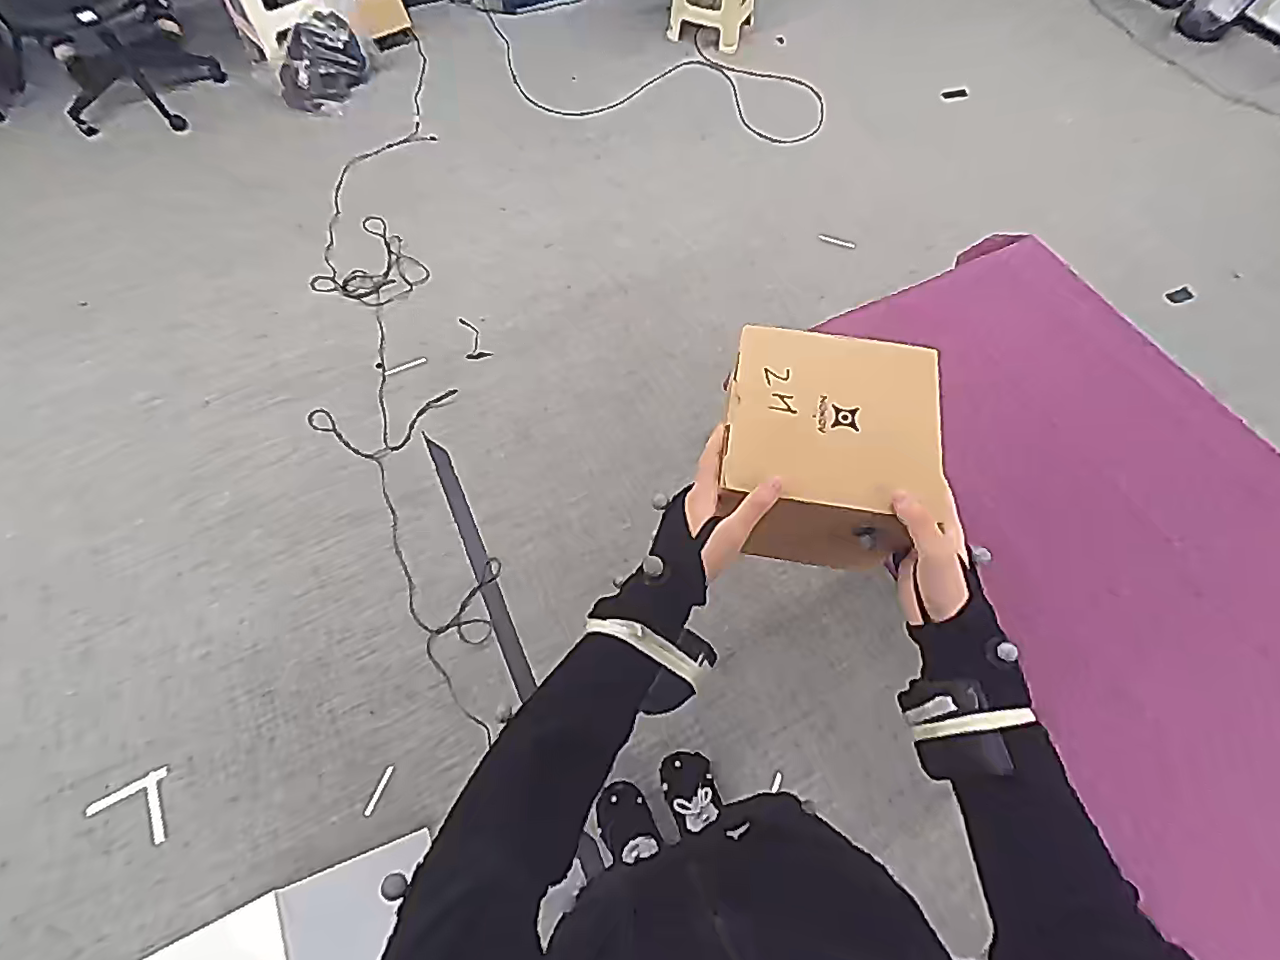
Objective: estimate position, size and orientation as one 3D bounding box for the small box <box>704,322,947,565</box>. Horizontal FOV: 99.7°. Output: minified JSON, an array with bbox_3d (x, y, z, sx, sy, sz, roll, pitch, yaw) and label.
[{"bbox_3d":[0.165,-0.024,0.522,0.179,0.176,0.168,9,67,5],"label":"small box"}]
